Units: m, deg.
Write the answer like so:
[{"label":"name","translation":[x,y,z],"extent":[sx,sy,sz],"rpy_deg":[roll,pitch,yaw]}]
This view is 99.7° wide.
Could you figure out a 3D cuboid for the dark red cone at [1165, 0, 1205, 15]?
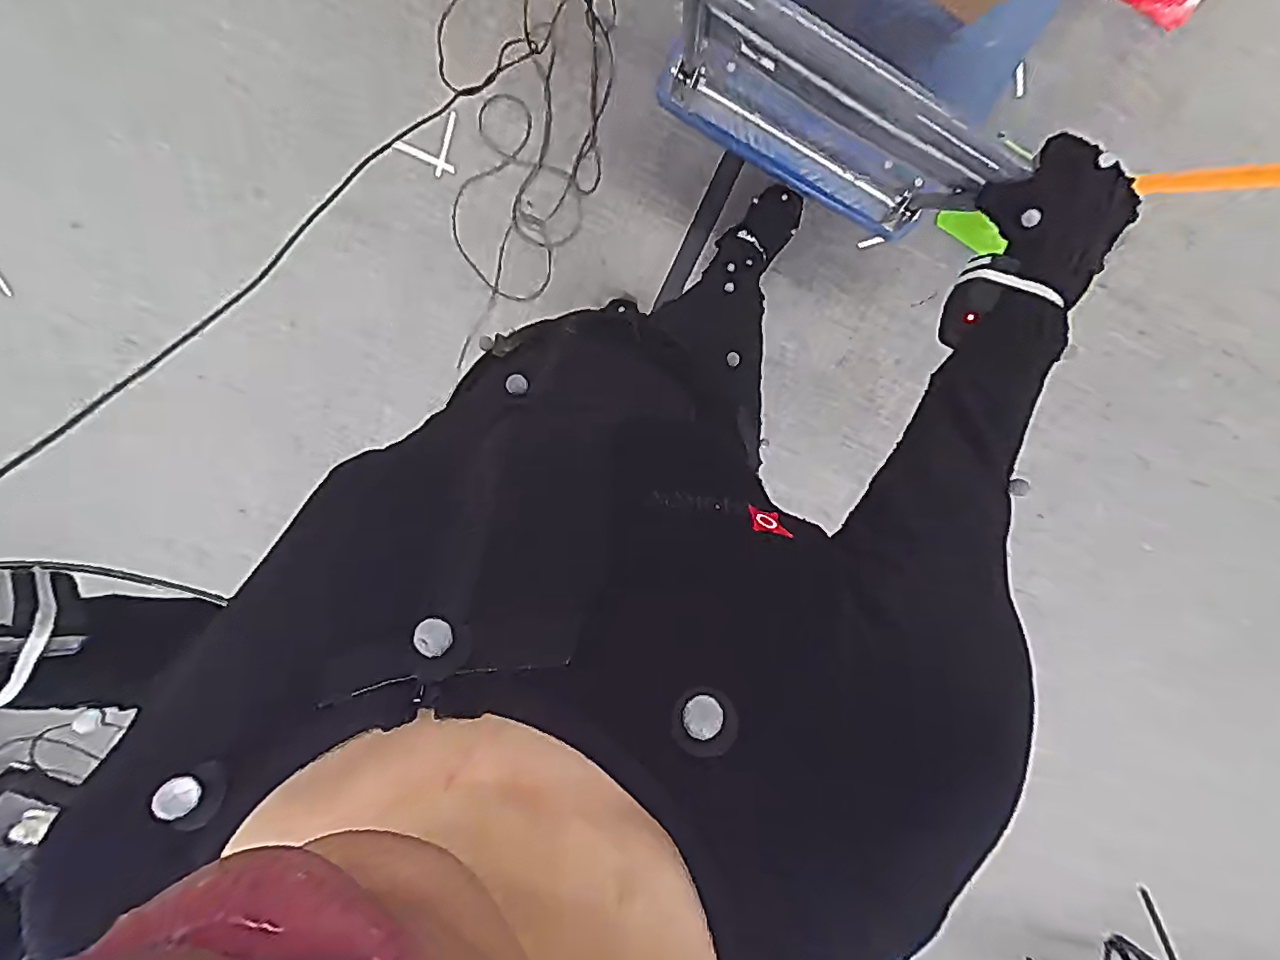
[{"label":"dark red cone","translation":[1.014,-0.943,0.846],"extent":[0.201,0.394,0.202],"rpy_deg":[23,114,-9]}]

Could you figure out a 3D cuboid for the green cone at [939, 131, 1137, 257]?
[{"label":"green cone","translation":[0.795,-0.560,1.048],"extent":[0.202,0.368,0.200],"rpy_deg":[27,113,-10]}]
